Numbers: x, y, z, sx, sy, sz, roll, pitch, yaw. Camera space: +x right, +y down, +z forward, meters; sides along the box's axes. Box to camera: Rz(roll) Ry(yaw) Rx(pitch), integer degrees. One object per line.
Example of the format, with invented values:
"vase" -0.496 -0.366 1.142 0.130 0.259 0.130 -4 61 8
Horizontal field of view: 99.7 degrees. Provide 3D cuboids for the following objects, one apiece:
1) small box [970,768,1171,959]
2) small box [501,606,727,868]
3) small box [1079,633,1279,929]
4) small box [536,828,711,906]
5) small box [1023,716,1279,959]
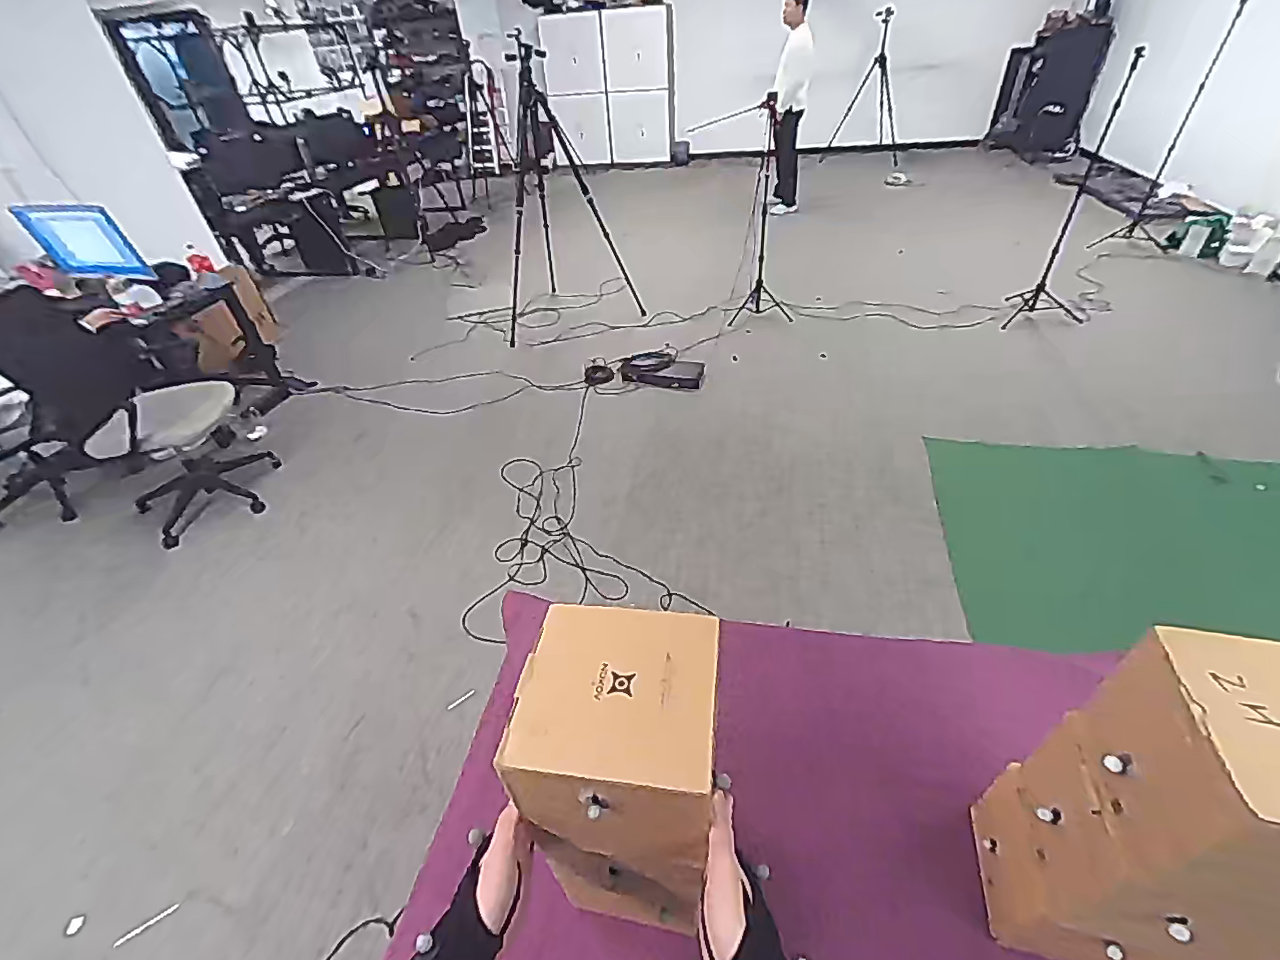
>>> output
"small box" 0.557 0.505 0.693 0.179 0.176 0.168 7 42 14
"small box" -0.009 0.246 0.525 0.179 0.176 0.168 3 39 10
"small box" 0.538 0.264 0.469 0.179 0.176 0.168 7 41 14
"small box" -0.003 0.373 0.638 0.179 0.176 0.168 4 40 10
"small box" 0.544 0.387 0.579 0.179 0.176 0.168 7 42 15
